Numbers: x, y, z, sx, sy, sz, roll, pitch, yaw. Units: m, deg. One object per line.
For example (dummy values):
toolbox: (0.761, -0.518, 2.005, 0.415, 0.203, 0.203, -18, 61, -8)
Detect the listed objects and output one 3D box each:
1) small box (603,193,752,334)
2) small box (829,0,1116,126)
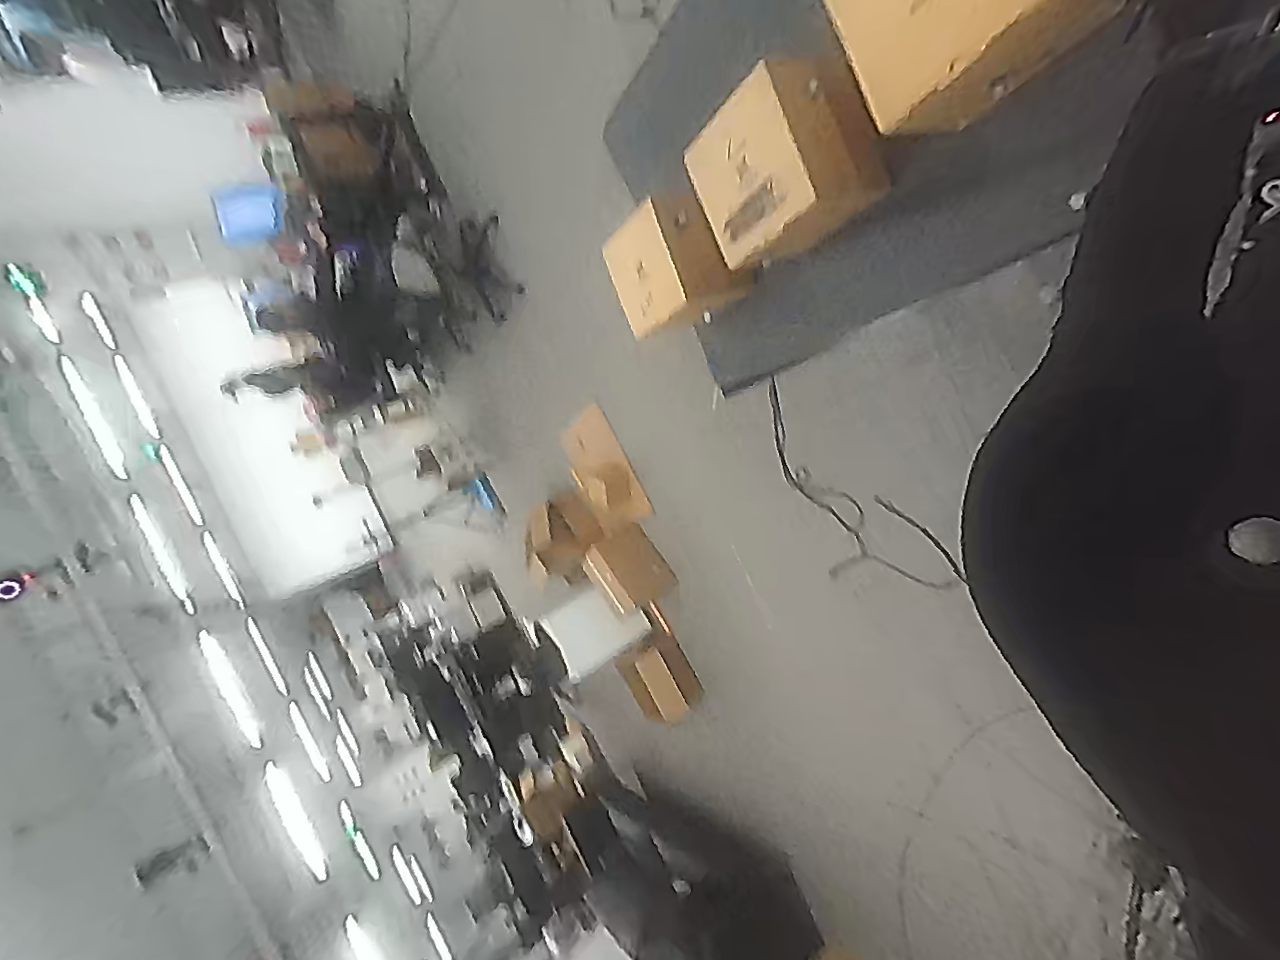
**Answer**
small box: (0.067, -0.383, 0.960, 0.168, 0.176, 0.179, -14, 98, 58)
small box: (0.319, -0.483, 0.531, 0.168, 0.176, 0.179, -21, 94, 58)
